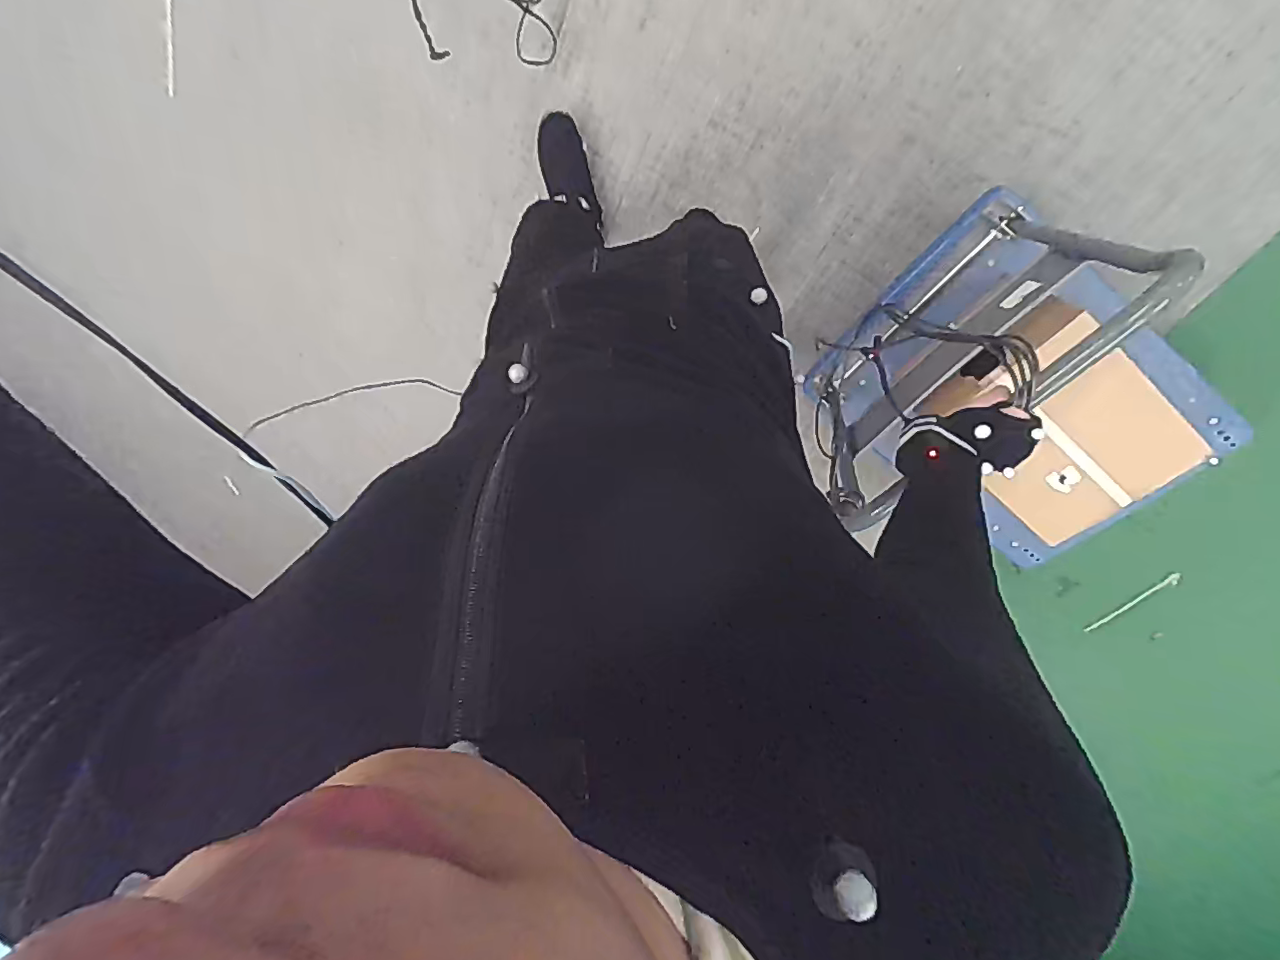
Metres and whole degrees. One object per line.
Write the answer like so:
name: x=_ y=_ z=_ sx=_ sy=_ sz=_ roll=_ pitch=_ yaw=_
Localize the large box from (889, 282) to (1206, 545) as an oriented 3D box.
large box: x=0.818 y=-0.147 z=1.149 sx=0.408 sy=0.320 sz=0.320 roll=37 pitch=121 yaw=-13
